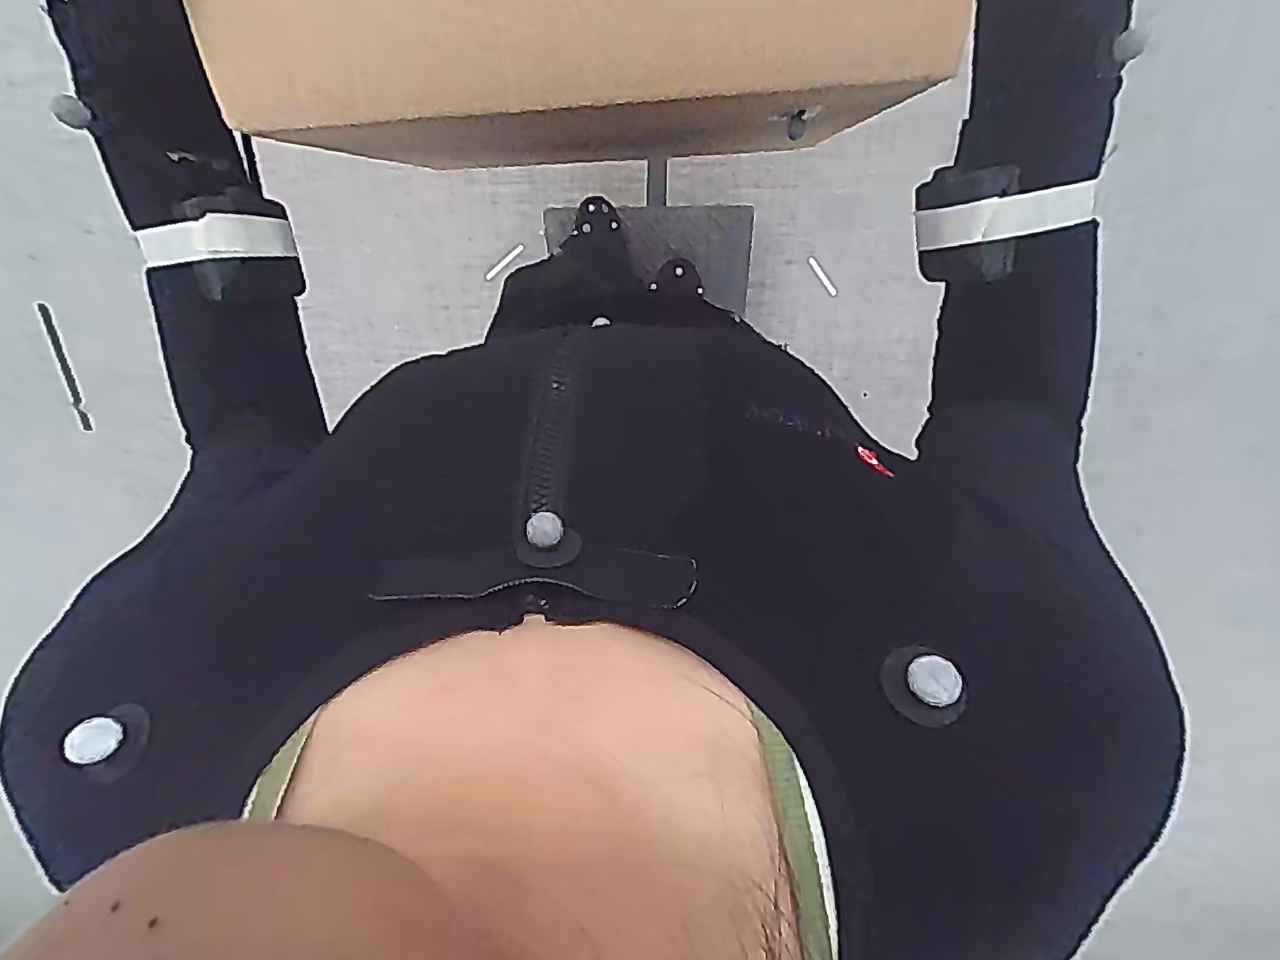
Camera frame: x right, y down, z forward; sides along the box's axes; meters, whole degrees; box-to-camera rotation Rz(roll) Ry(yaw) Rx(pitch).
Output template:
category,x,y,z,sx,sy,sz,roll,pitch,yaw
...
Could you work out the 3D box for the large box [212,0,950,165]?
category,x,y,z,sx,sy,sz,roll,pitch,yaw
large box,-0.034,-0.418,0.376,0.408,0.320,0.320,-2,115,4
